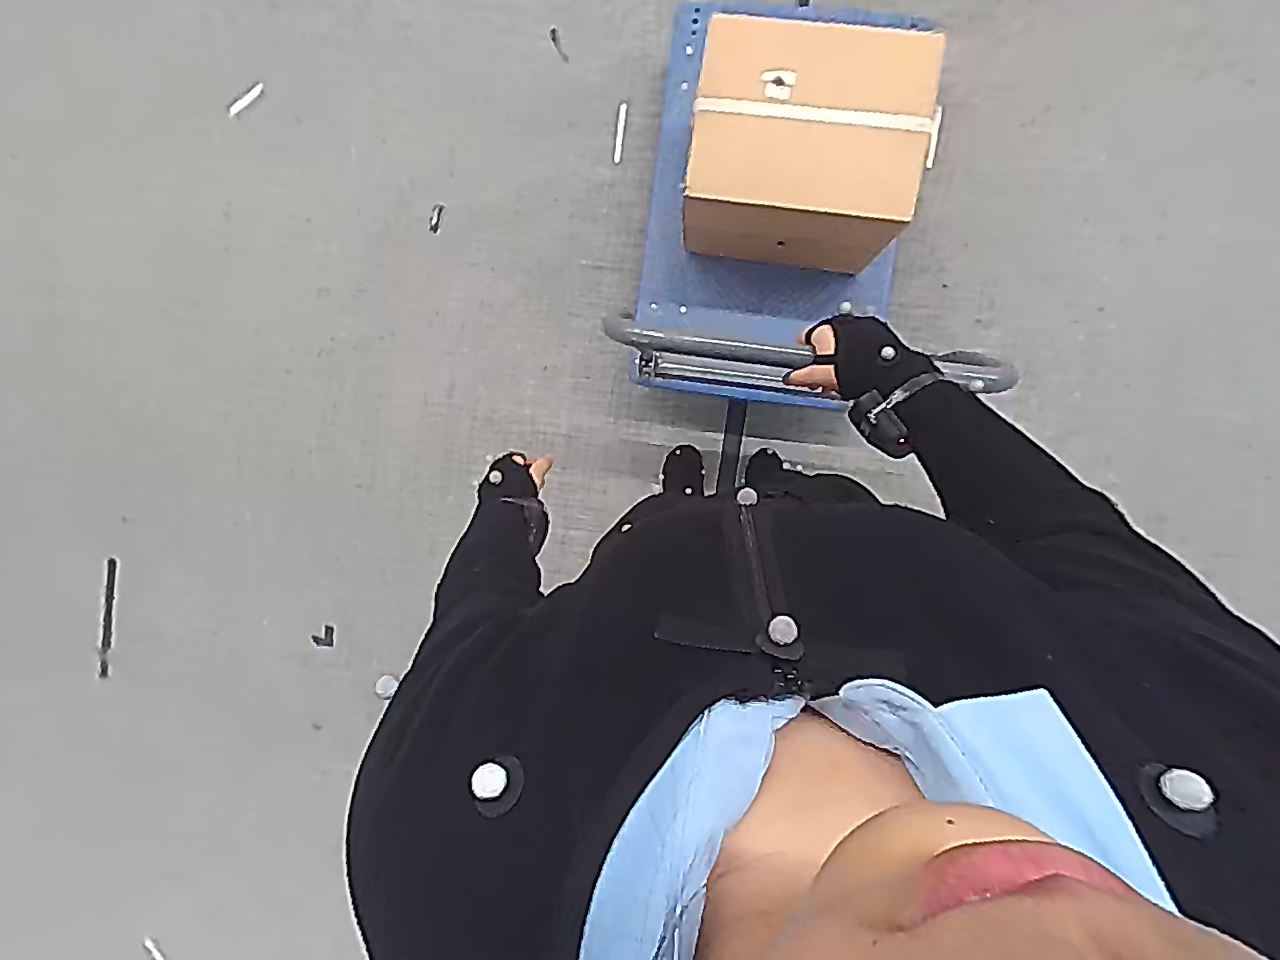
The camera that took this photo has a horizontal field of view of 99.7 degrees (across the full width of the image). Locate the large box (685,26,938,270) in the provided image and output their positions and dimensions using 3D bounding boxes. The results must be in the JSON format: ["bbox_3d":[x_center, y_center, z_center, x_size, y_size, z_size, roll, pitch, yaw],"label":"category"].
[{"bbox_3d":[0.317,-0.647,1.108,0.408,0.320,0.320,9,94,6],"label":"large box"}]
